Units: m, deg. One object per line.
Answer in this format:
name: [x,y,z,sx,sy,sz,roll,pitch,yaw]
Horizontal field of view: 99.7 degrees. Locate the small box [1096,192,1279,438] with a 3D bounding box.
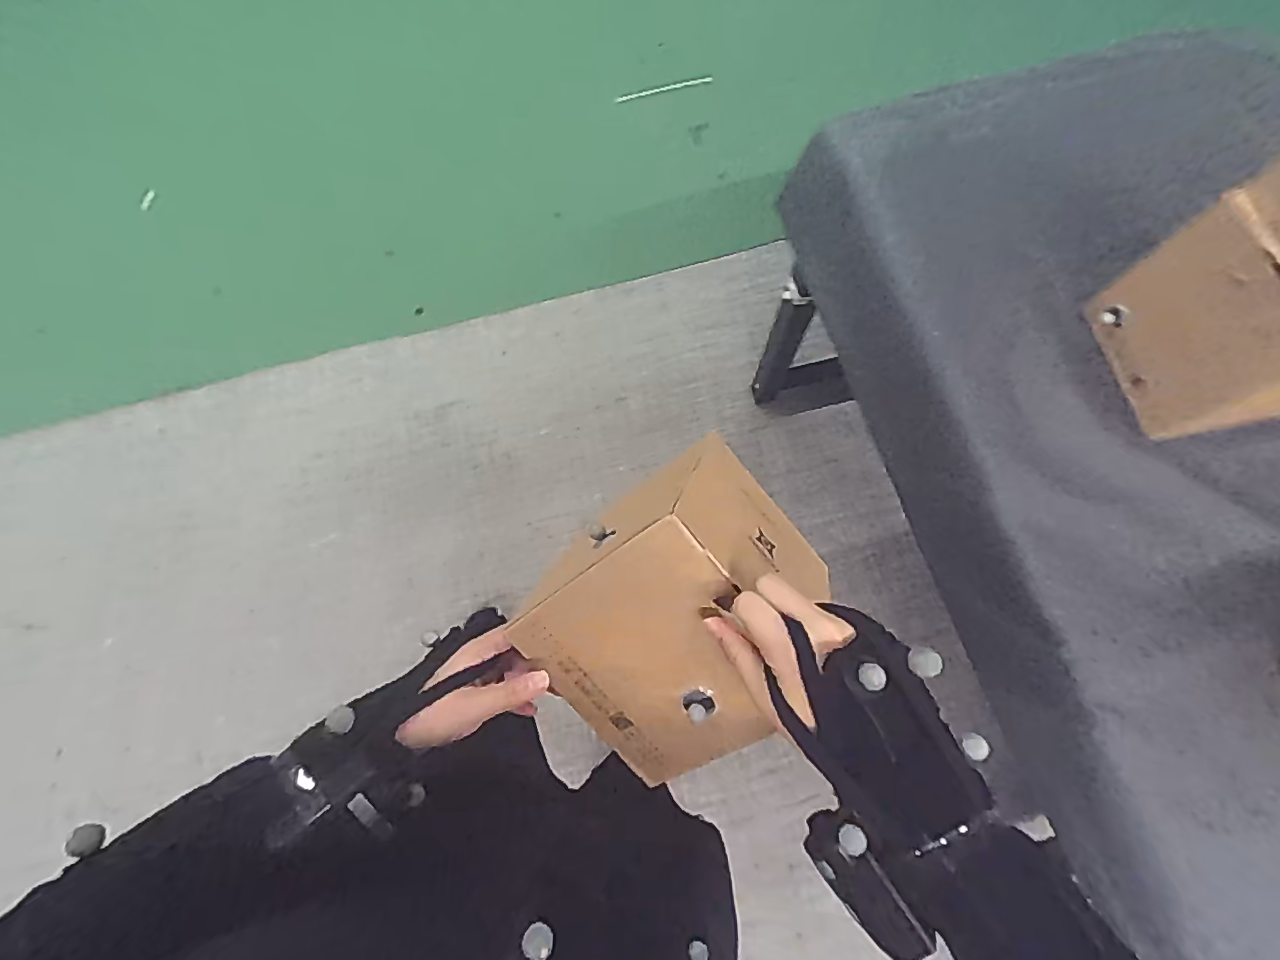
small box: [0.592,-0.153,0.514,0.179,0.176,0.168,-10,73,-2]

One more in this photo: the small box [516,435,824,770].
small box: [0.027,0.094,0.443,0.176,0.179,0.168,-38,96,24]
